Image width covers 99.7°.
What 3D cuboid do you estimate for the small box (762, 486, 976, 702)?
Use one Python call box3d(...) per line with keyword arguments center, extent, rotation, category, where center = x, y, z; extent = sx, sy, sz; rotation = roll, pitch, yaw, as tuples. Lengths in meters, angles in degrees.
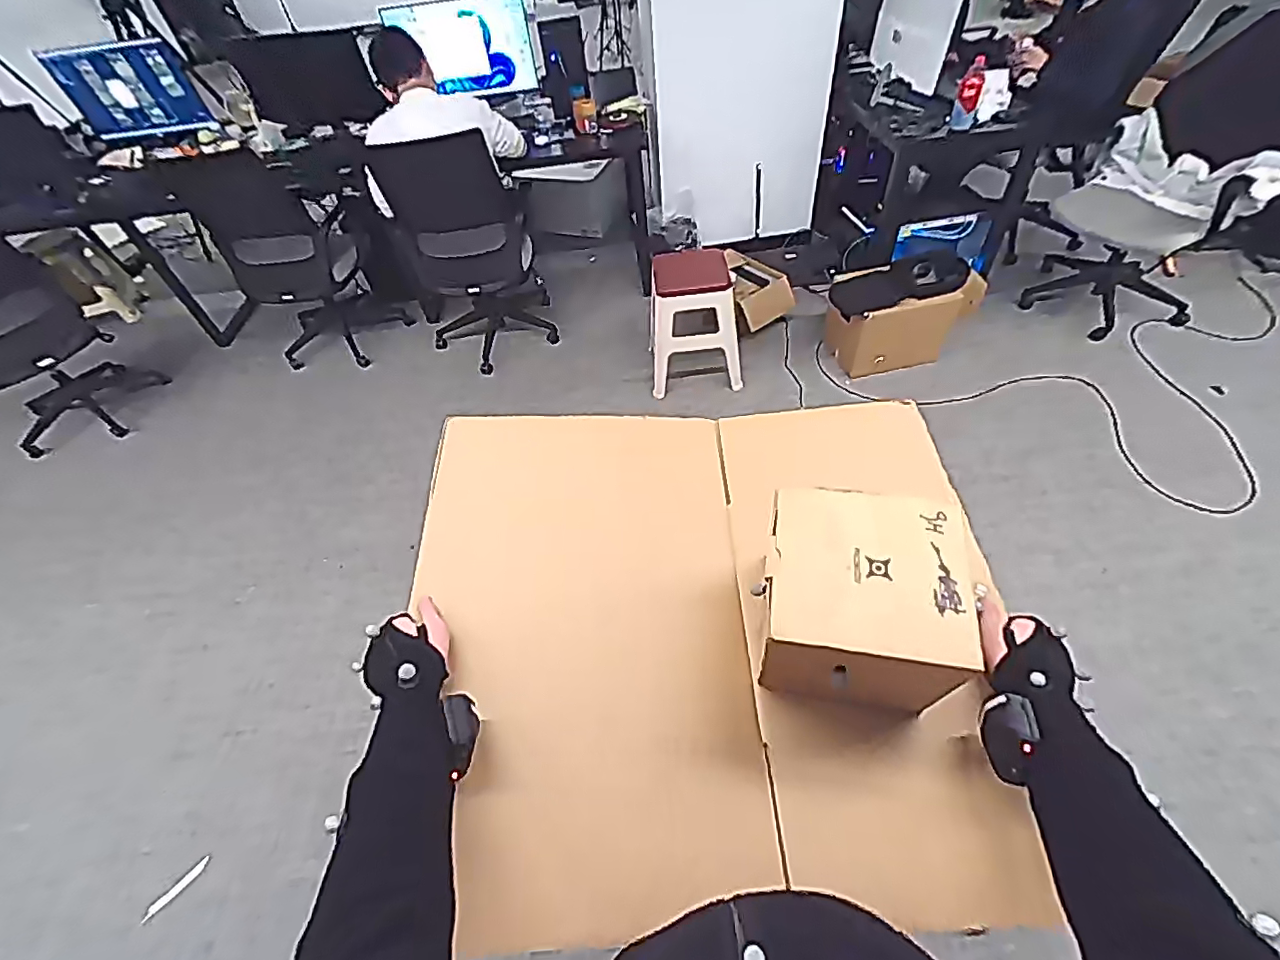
box3d(center=(0.225, 0.125, 0.576), extent=(0.179, 0.176, 0.168), rotation=(5, 57, 13), category="small box")
